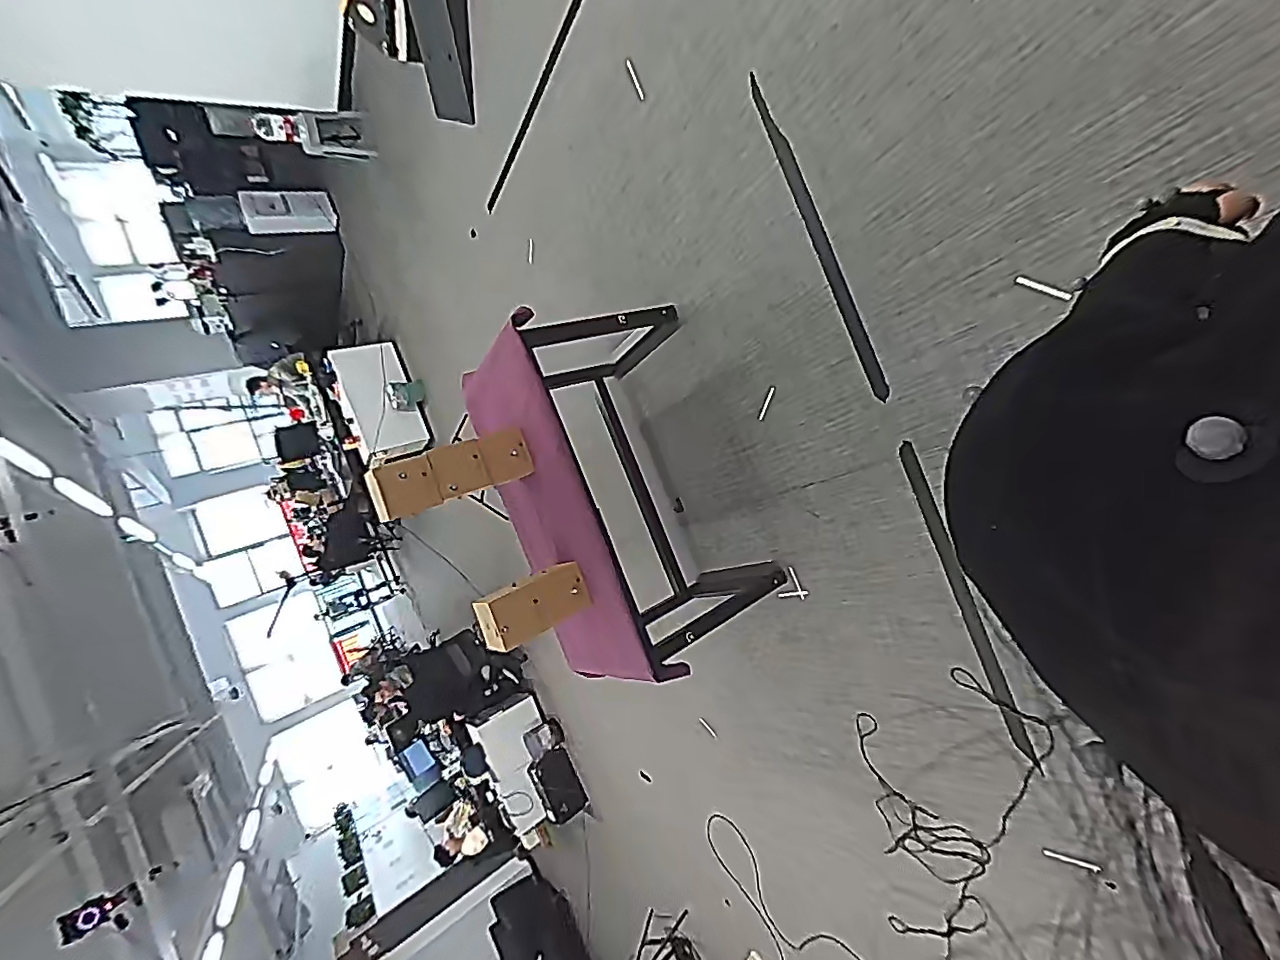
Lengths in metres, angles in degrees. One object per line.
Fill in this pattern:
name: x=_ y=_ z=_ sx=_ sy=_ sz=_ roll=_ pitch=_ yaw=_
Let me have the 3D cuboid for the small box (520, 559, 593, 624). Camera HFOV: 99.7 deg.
small box: x=-0.287 y=0.382 z=1.863 sx=0.179 sy=0.176 sz=0.168 roll=-21 pitch=90 yaw=55

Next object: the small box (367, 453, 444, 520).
small box: x=-0.738 y=0.020 z=1.708 sx=0.179 sy=0.176 sz=0.168 roll=-11 pitch=98 yaw=57

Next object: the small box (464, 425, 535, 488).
small box: x=-0.490 y=-0.082 z=1.894 sx=0.179 sy=0.176 sz=0.168 roll=-14 pitch=97 yaw=56

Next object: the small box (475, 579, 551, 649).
small box: x=-0.413 y=0.433 z=1.771 sx=0.179 sy=0.176 sz=0.168 roll=-19 pitch=92 yaw=57
